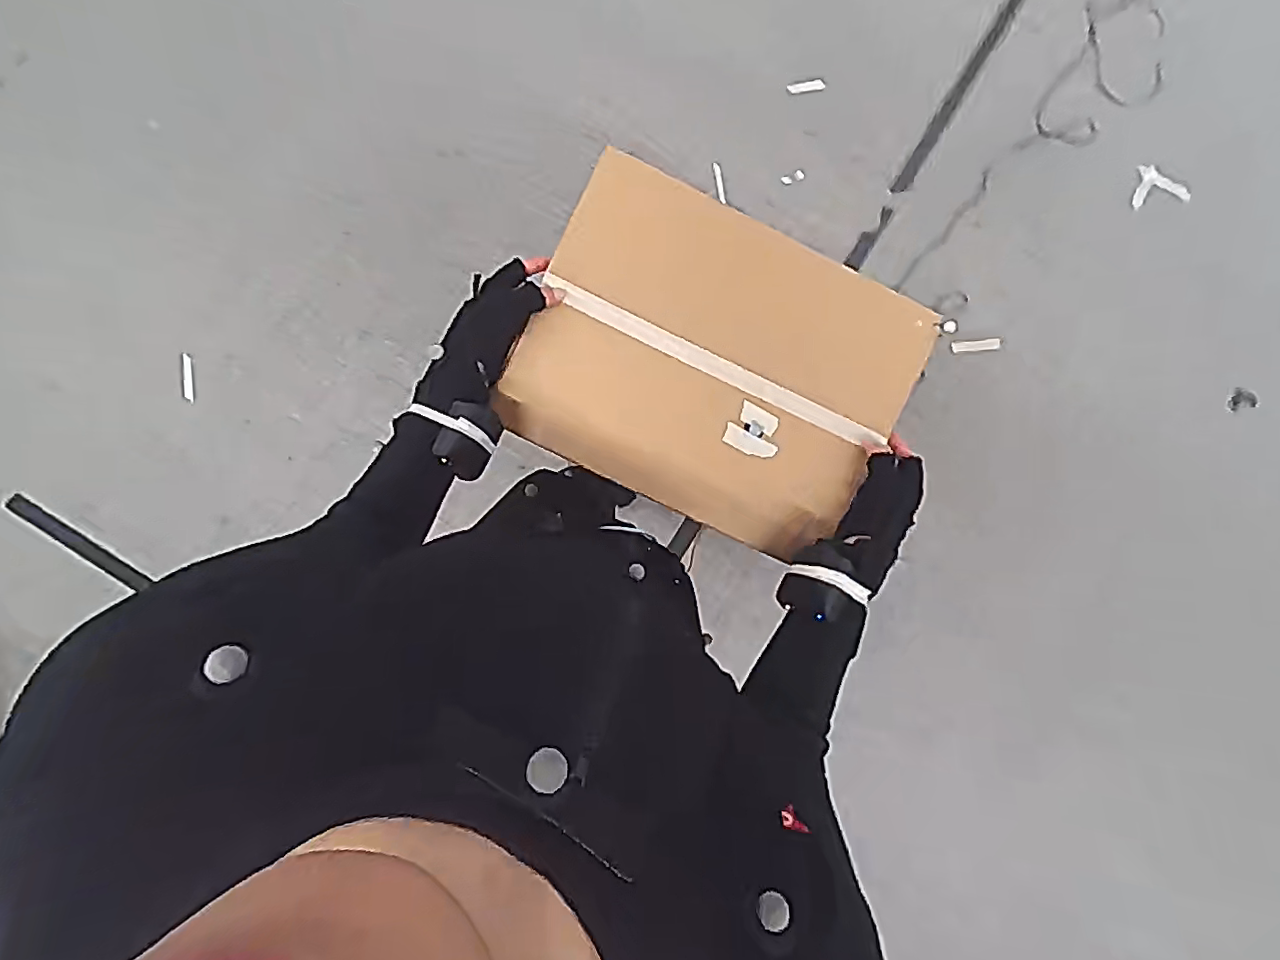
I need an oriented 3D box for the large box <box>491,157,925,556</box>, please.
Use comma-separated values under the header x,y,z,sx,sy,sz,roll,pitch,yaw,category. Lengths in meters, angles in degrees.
x,y,z,sx,sy,sz,roll,pitch,yaw,category
0.069,-0.137,0.740,0.408,0.320,0.320,25,92,-3,large box
